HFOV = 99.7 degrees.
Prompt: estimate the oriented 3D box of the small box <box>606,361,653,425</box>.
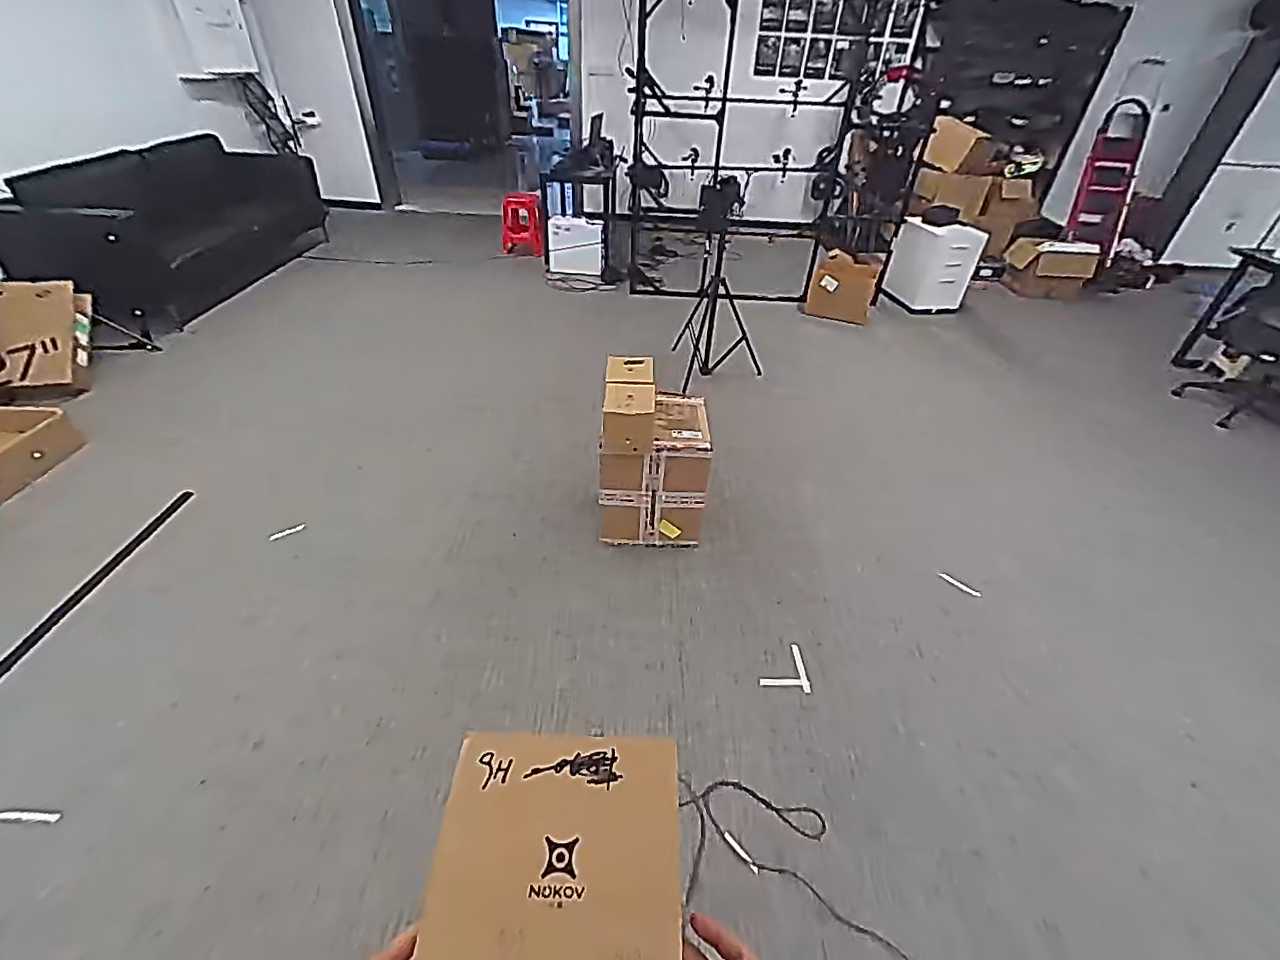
[{"bbox_3d":[-0.036,-0.318,1.969,0.168,0.176,0.179,0,41,0],"label":"small box"}]
